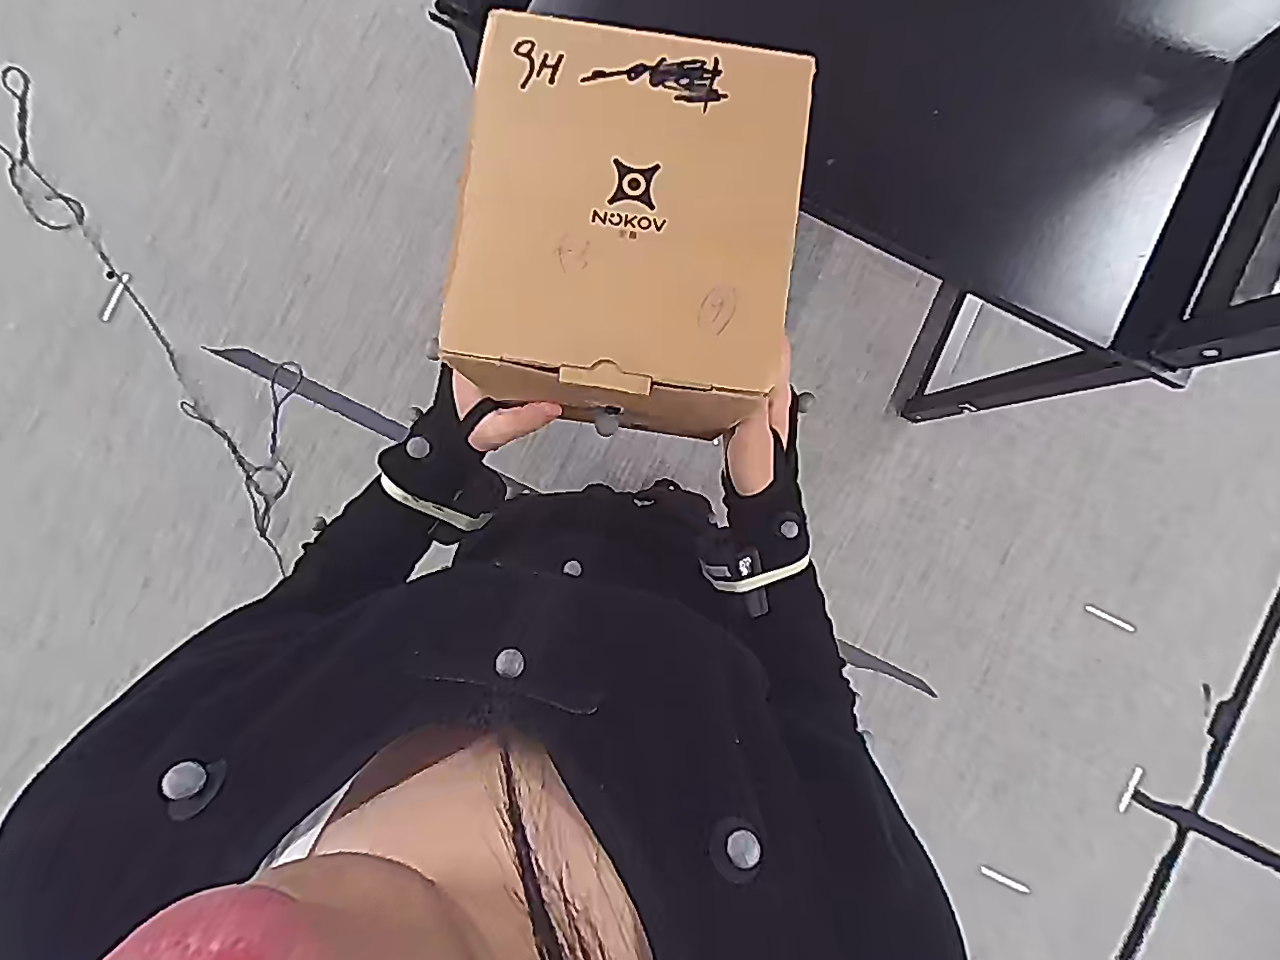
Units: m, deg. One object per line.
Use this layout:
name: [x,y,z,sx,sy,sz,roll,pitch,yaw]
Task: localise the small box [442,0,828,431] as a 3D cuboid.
small box: [-0.004,-0.130,0.335,0.168,0.176,0.179,7,89,-2]
